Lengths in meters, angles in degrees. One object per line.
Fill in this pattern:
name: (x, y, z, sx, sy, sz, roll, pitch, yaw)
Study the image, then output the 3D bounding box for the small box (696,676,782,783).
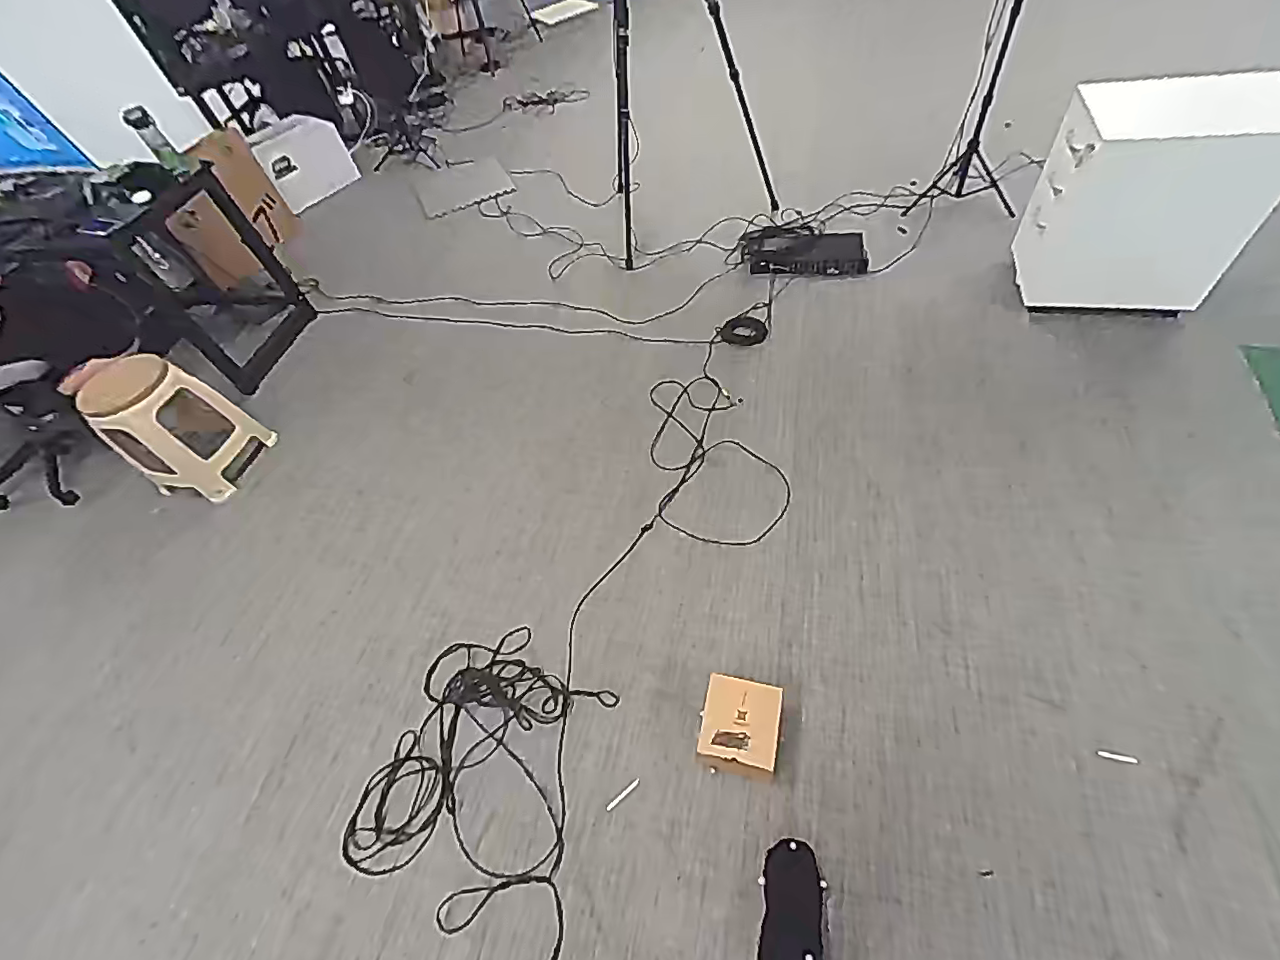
small box: (0.233, 0.582, 1.253, 0.168, 0.176, 0.179, 7, 55, 16)
